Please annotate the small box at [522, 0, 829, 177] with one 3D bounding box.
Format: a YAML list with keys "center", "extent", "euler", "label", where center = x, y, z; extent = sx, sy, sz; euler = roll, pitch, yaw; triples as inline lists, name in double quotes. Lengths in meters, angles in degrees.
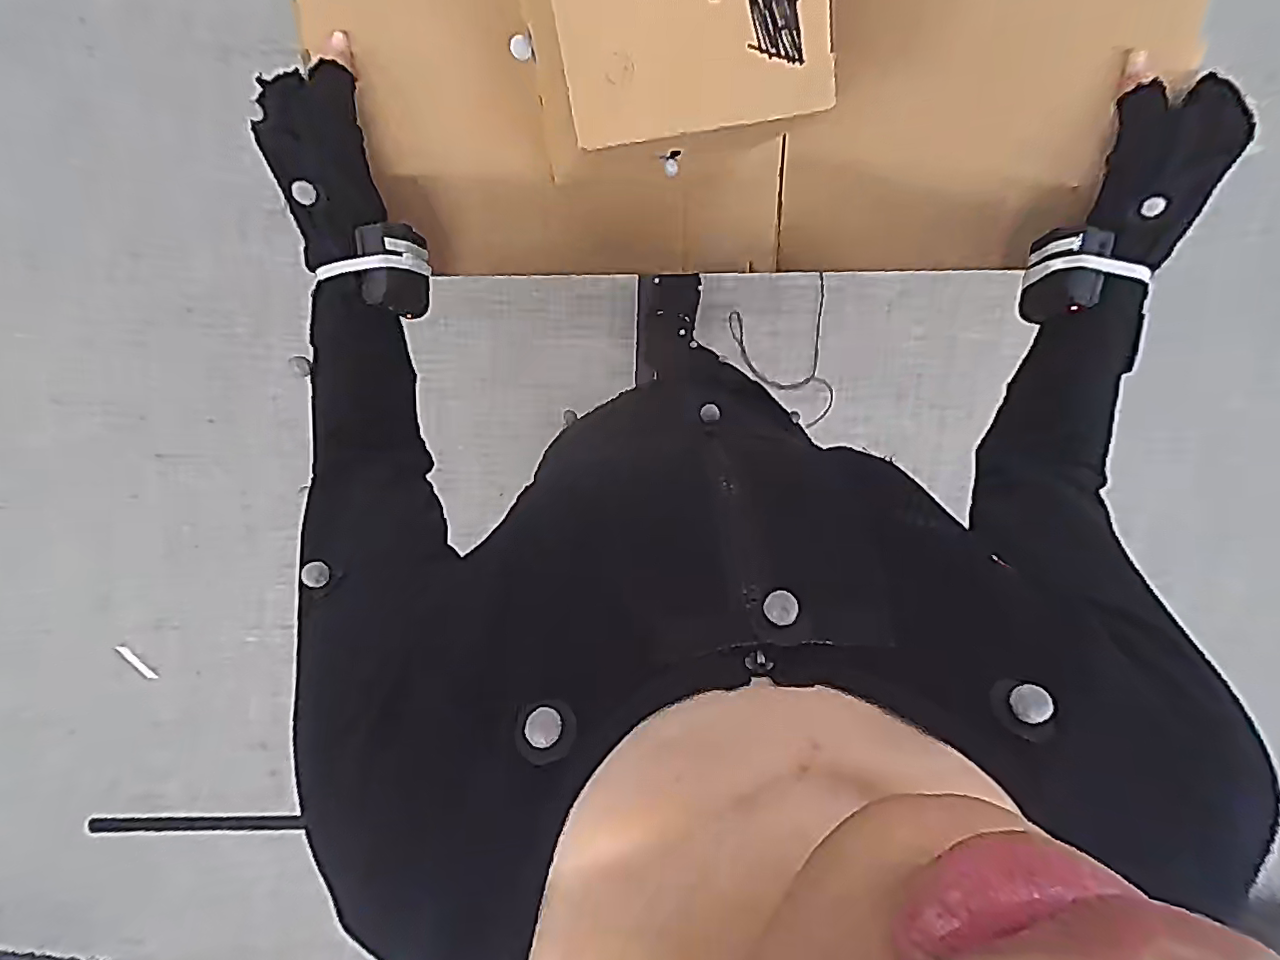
- center: [0.015, -0.336, 0.395]
  extent: [0.179, 0.176, 0.168]
  euler: [-14, 113, -8]
  label: "small box"
